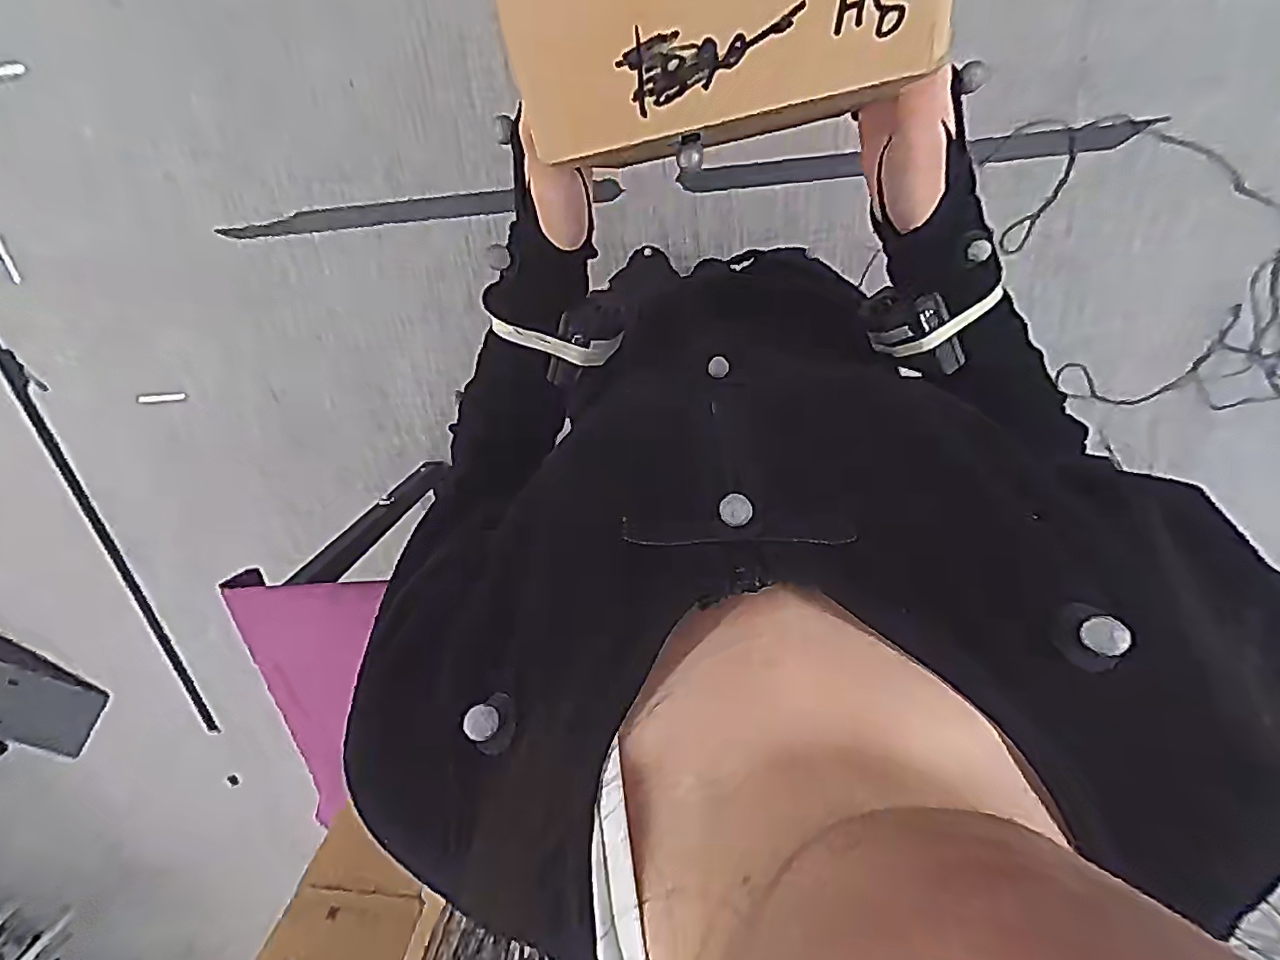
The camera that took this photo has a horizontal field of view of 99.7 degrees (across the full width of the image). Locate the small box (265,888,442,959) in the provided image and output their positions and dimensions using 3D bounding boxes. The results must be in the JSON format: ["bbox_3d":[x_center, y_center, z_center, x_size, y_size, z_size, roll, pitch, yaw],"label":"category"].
[{"bbox_3d":[-0.349,0.618,0.632,0.168,0.176,0.179,4,115,4],"label":"small box"}]

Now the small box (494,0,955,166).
[{"bbox_3d":[0.029,-0.257,0.243,0.168,0.176,0.179,-6,118,13],"label":"small box"}]
